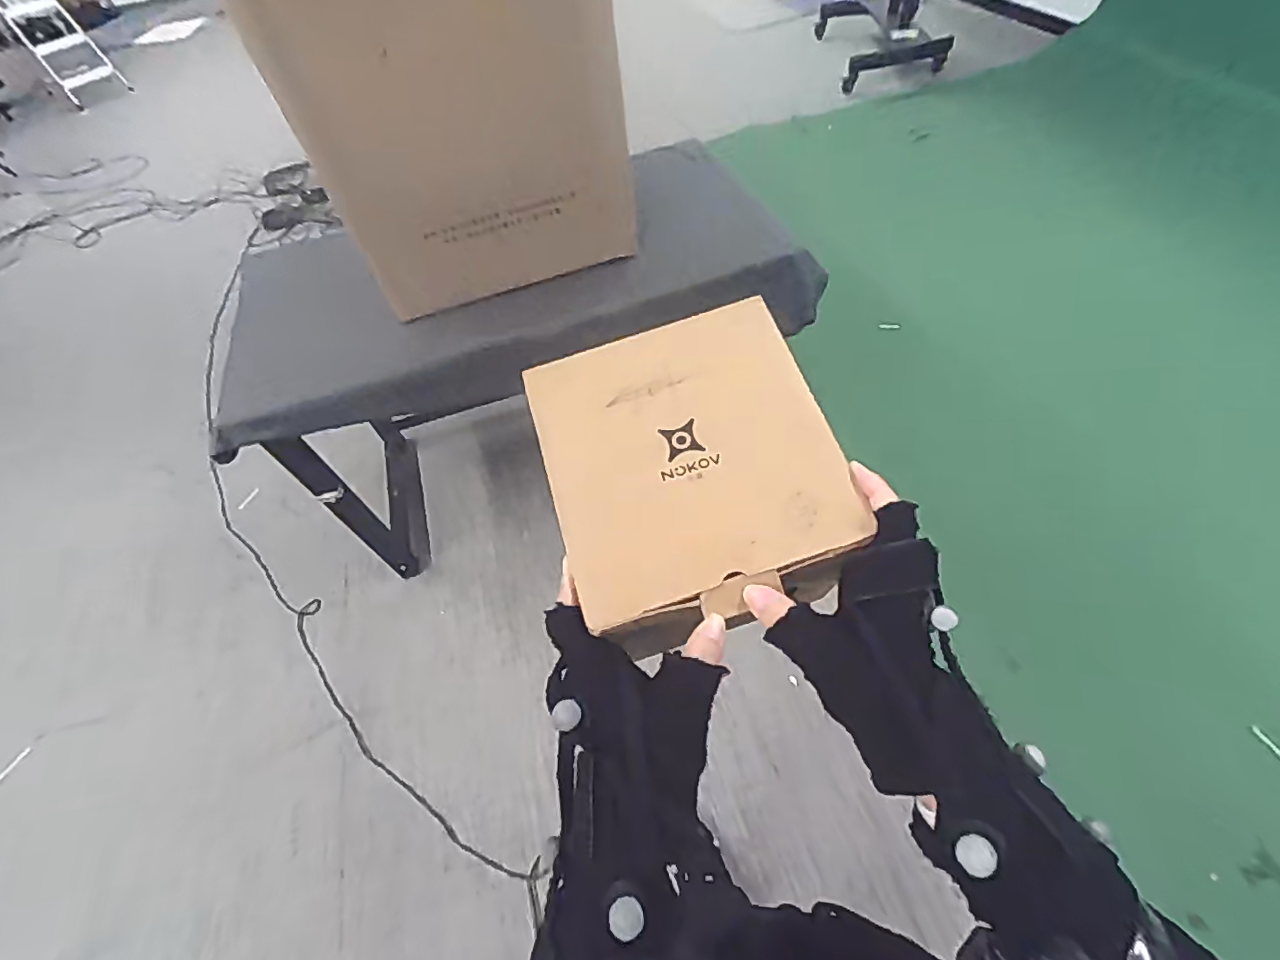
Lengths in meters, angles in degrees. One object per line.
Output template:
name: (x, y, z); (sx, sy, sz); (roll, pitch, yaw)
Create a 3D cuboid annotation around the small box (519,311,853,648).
small box: (0.028, 0.015, 0.403); (0.168, 0.176, 0.179); (-18, 64, -1)
